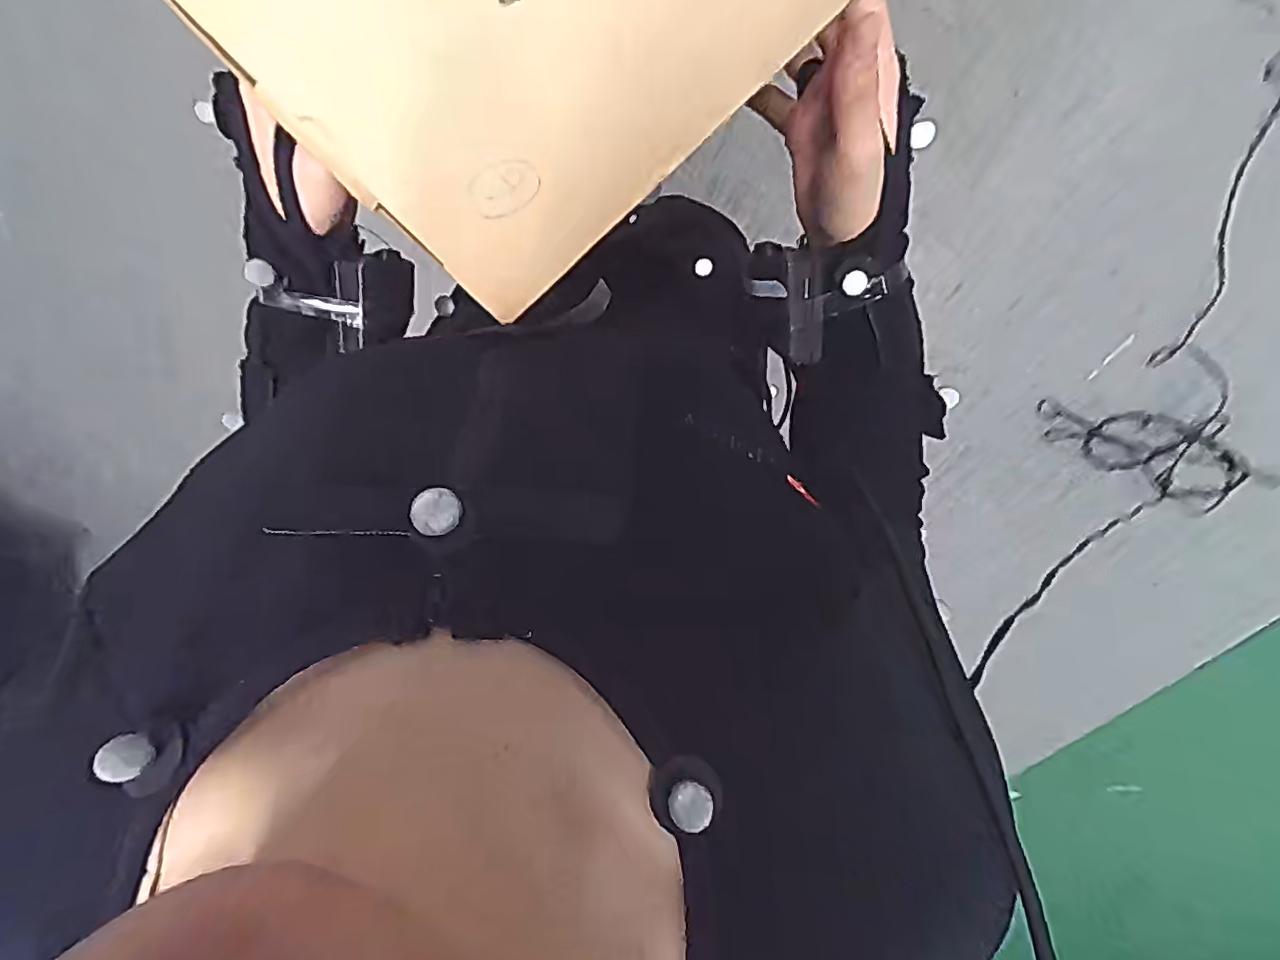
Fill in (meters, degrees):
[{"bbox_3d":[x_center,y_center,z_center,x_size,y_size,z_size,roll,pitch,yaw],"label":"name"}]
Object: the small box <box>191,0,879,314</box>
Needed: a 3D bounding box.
[{"bbox_3d":[-0.038,-0.206,0.214,0.179,0.176,0.168,-32,122,22],"label":"small box"}]
